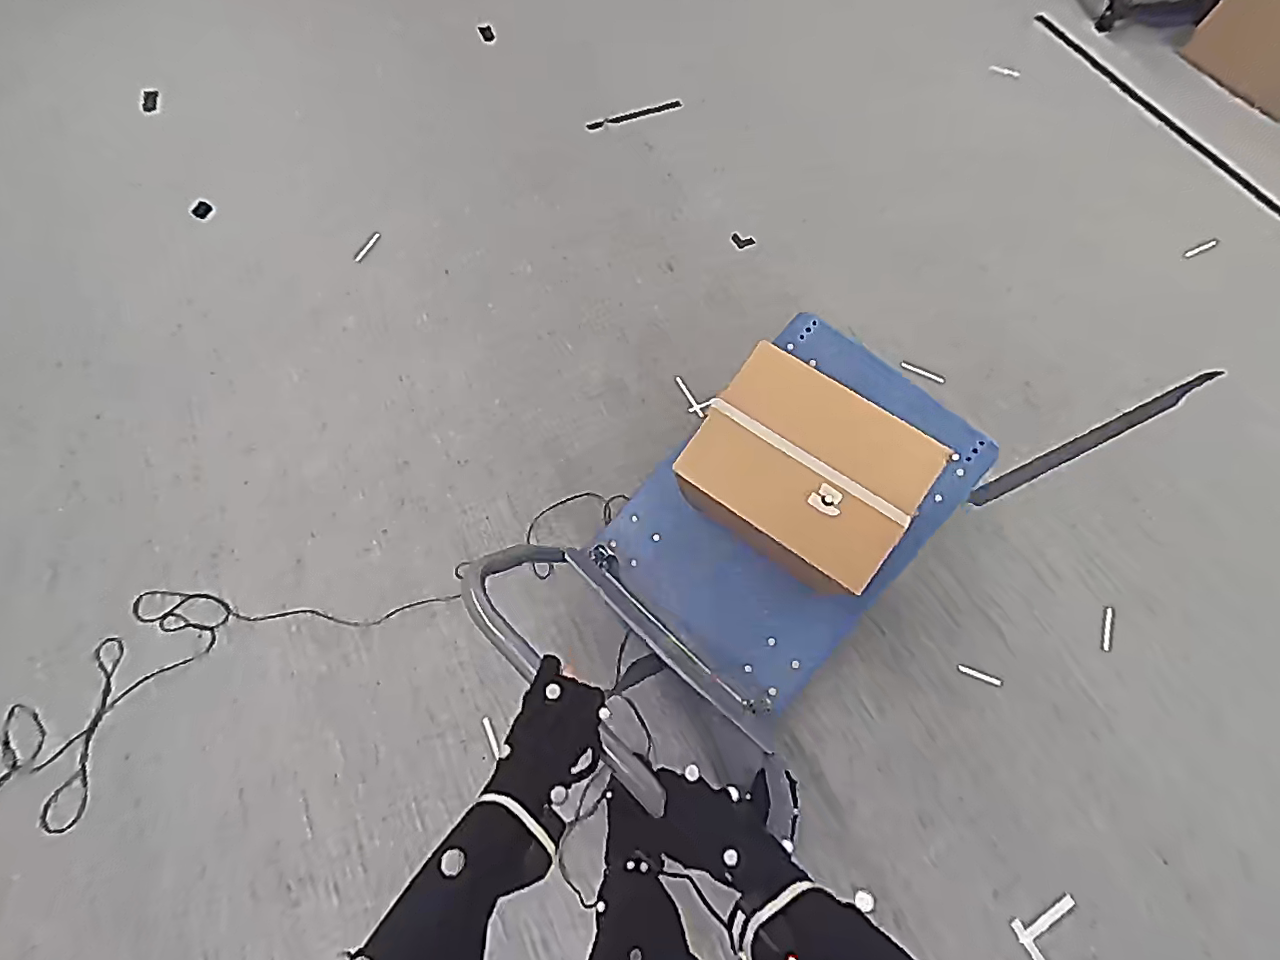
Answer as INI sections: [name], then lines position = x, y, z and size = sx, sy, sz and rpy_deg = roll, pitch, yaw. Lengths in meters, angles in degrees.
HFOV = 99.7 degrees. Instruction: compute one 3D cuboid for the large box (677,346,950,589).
[large box]
position = 0.330, -0.009, 1.142
size = 0.408, 0.320, 0.320
rpy_deg = 34, 86, 12
